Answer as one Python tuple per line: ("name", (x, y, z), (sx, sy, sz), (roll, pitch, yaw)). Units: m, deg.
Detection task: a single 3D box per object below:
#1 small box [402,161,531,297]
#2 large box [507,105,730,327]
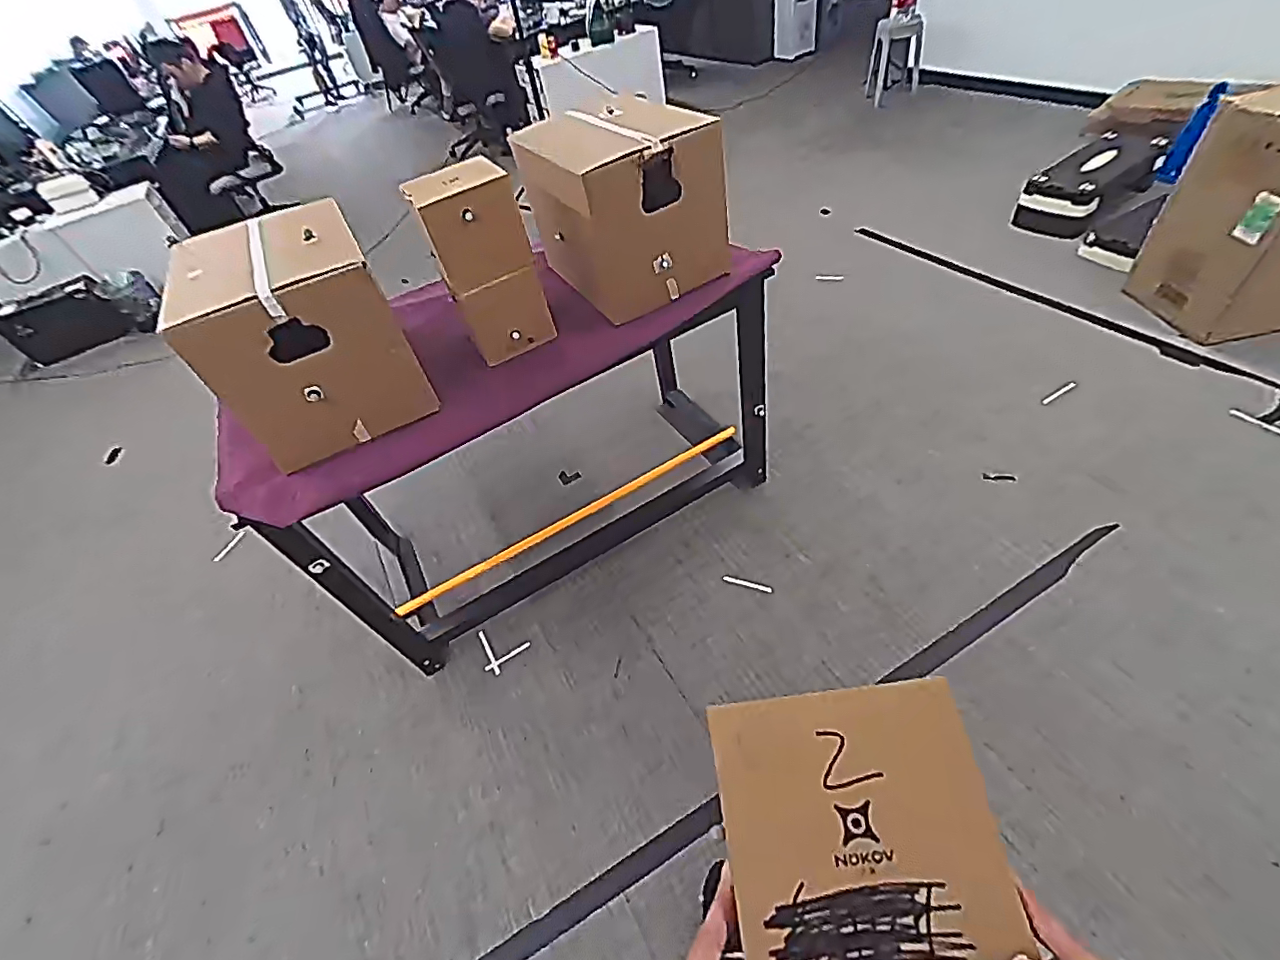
("small box", (-0.331, -0.491, 1.060), (0.179, 0.176, 0.168), (-29, 48, -12))
("large box", (-0.043, -0.607, 1.229), (0.320, 0.320, 0.408), (-29, 47, -14))
